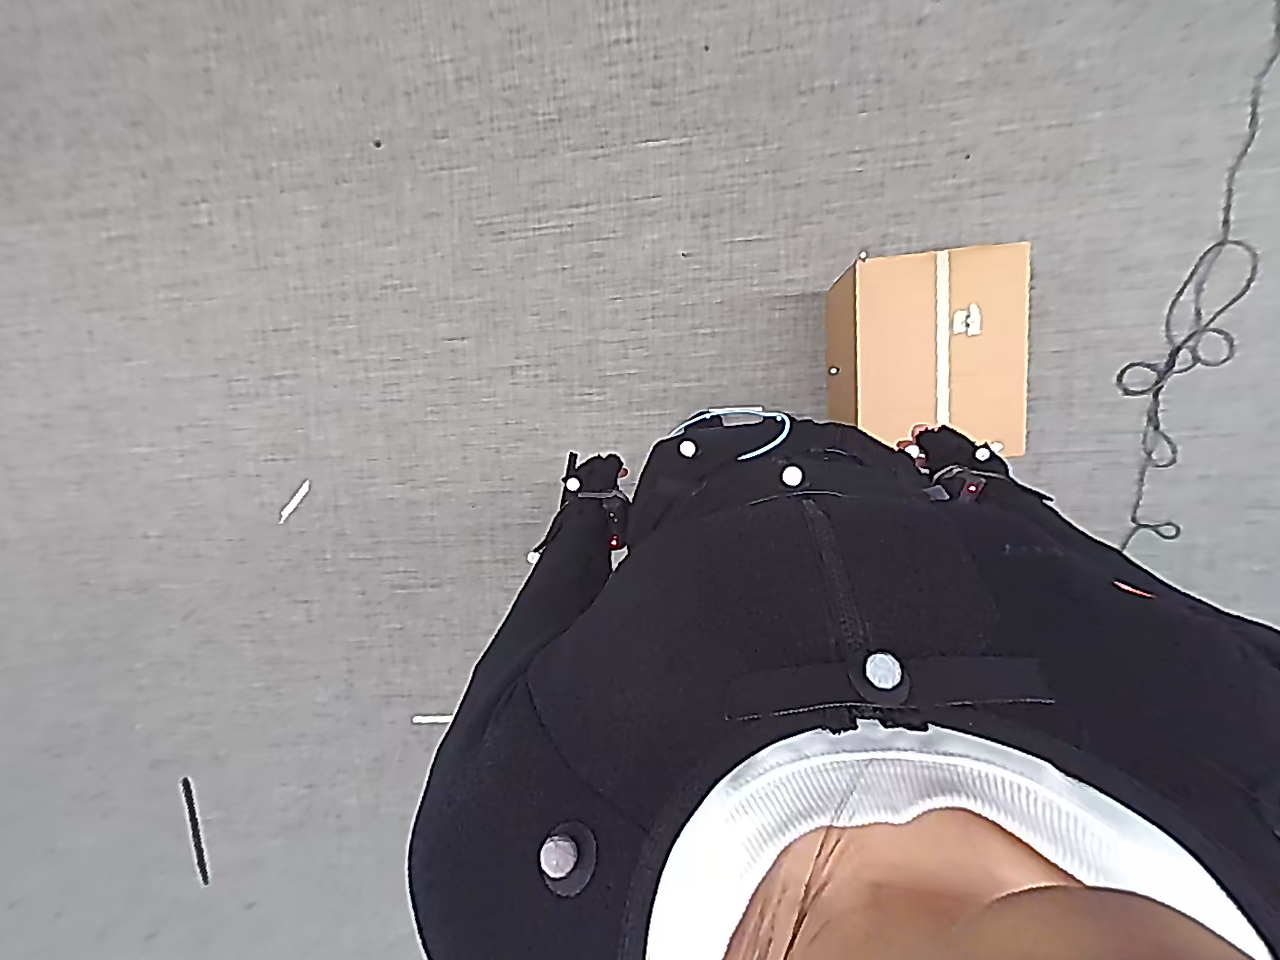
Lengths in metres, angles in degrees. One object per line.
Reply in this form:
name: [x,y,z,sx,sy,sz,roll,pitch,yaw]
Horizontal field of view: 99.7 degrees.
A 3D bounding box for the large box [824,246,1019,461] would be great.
large box: [0.607,-0.260,1.222,0.320,0.320,0.408,-3,96,7]
